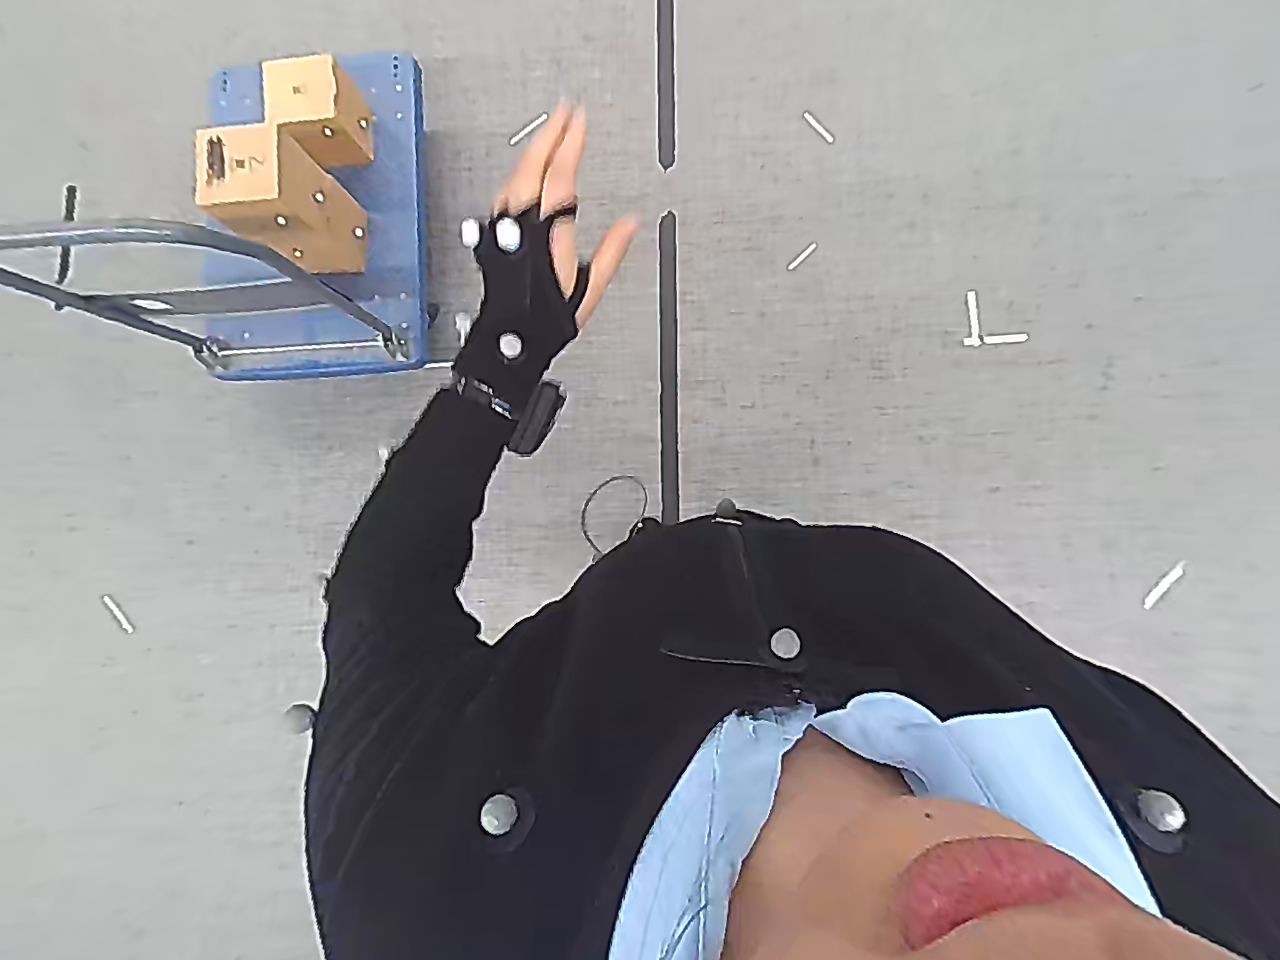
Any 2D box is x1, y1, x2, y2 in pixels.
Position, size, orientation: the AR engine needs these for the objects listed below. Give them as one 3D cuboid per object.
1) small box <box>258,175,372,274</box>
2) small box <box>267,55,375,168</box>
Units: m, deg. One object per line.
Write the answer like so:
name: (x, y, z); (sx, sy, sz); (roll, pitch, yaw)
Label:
small box: (-0.800, -0.627, 1.343); (0.179, 0.176, 0.168); (1, 86, 2)
small box: (-0.800, -0.921, 1.369); (0.179, 0.176, 0.168); (-6, 85, 2)
